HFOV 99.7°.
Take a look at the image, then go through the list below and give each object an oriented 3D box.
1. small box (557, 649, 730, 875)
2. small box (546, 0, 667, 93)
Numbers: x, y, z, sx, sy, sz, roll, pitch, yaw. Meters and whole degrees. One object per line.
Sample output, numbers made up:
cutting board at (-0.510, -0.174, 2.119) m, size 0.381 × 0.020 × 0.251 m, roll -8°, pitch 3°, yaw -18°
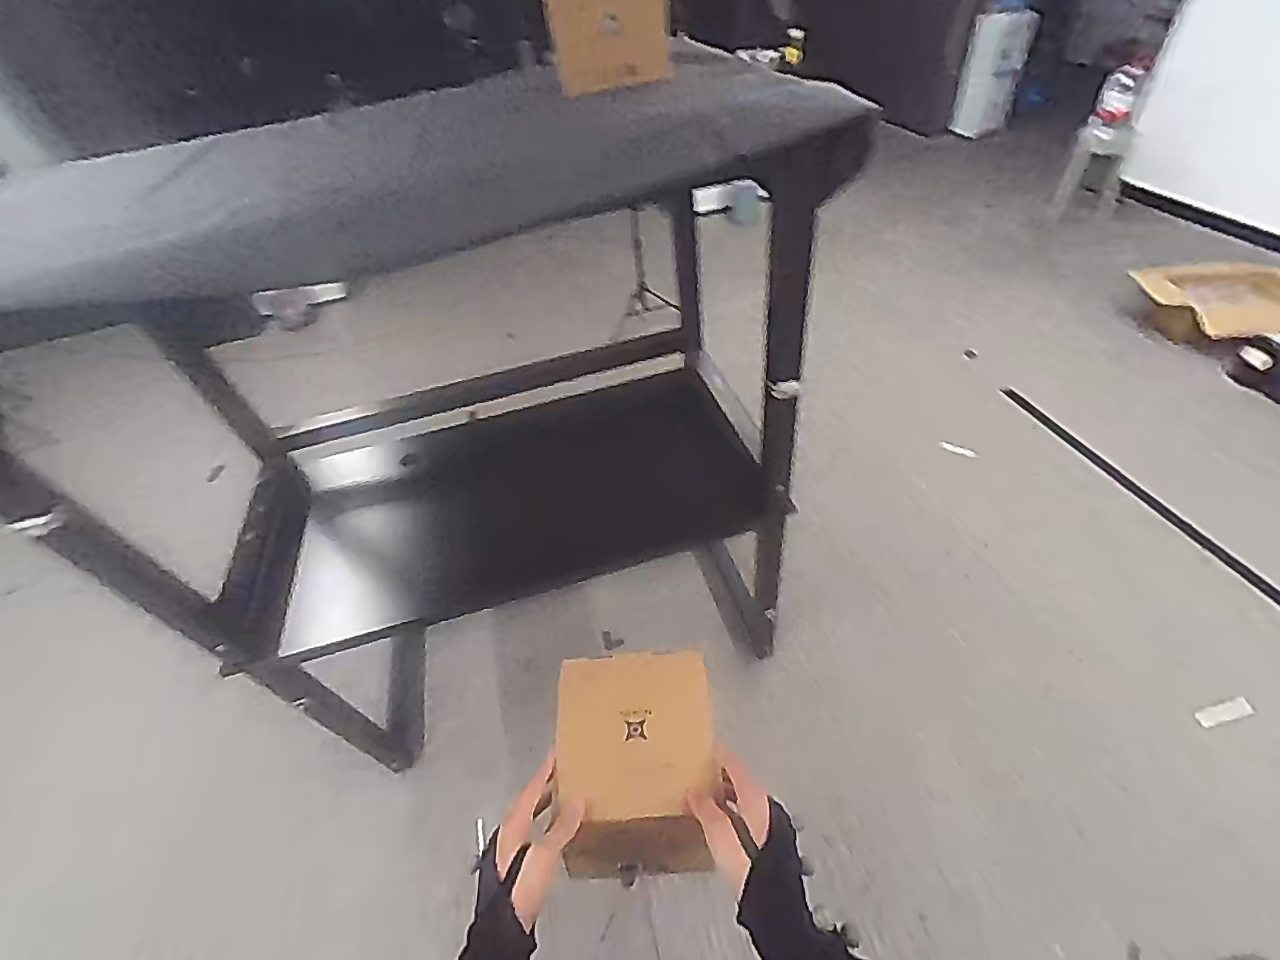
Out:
small box at (0.003, 0.317, 0.616) m, size 0.168 × 0.176 × 0.179 m, roll -3°, pitch 38°, yaw -1°
small box at (-0.057, -0.722, 0.834) m, size 0.168 × 0.176 × 0.179 m, roll -11°, pitch 48°, yaw -1°
